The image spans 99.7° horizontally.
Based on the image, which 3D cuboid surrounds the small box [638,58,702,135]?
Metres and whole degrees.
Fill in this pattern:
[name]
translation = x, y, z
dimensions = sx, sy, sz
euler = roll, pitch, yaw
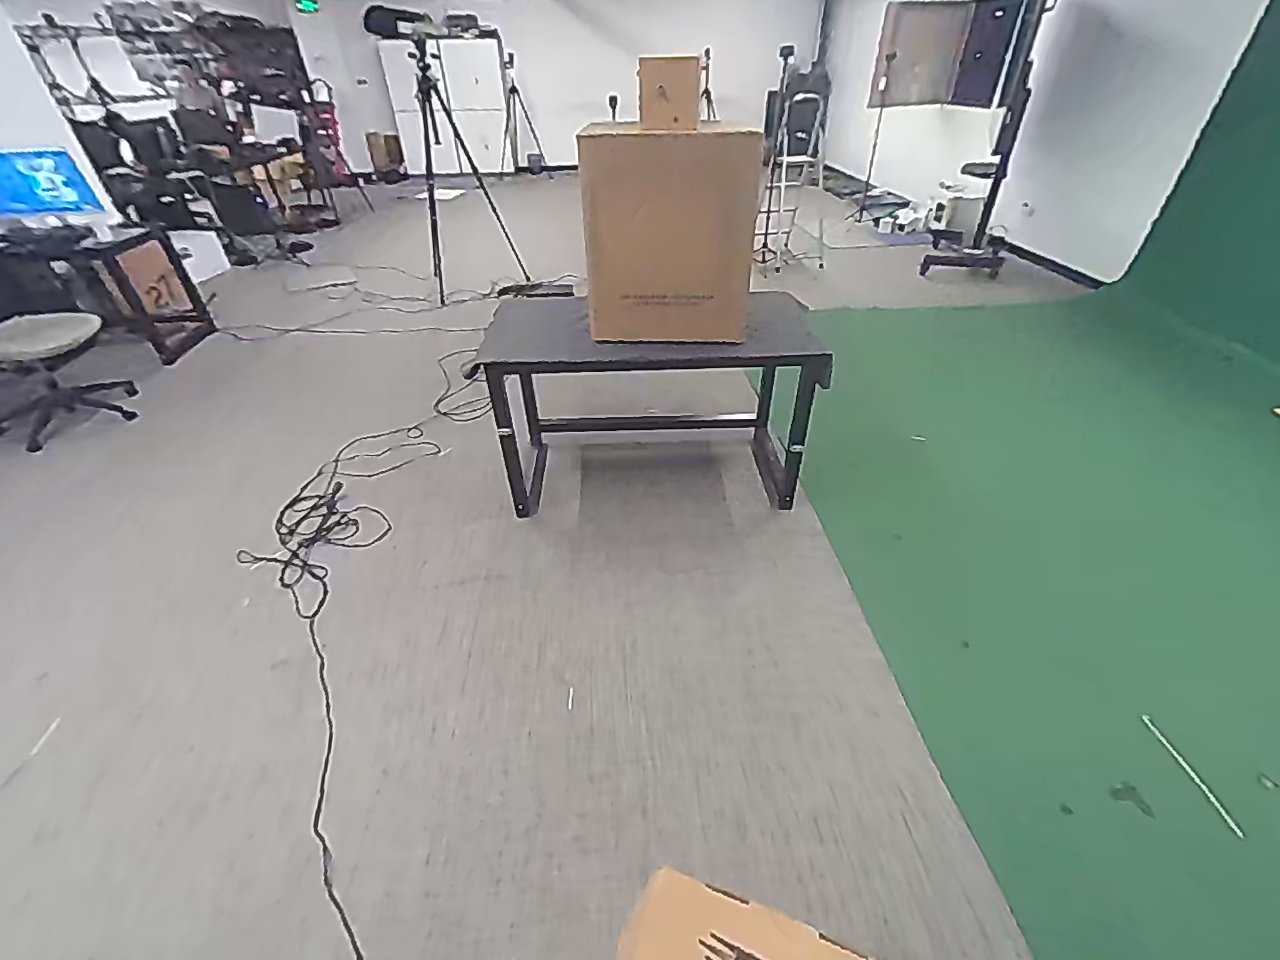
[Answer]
[small box]
translation = 0.089, -1.093, 1.544
dimensions = 0.168, 0.176, 0.179
euler = 3, 39, 6
